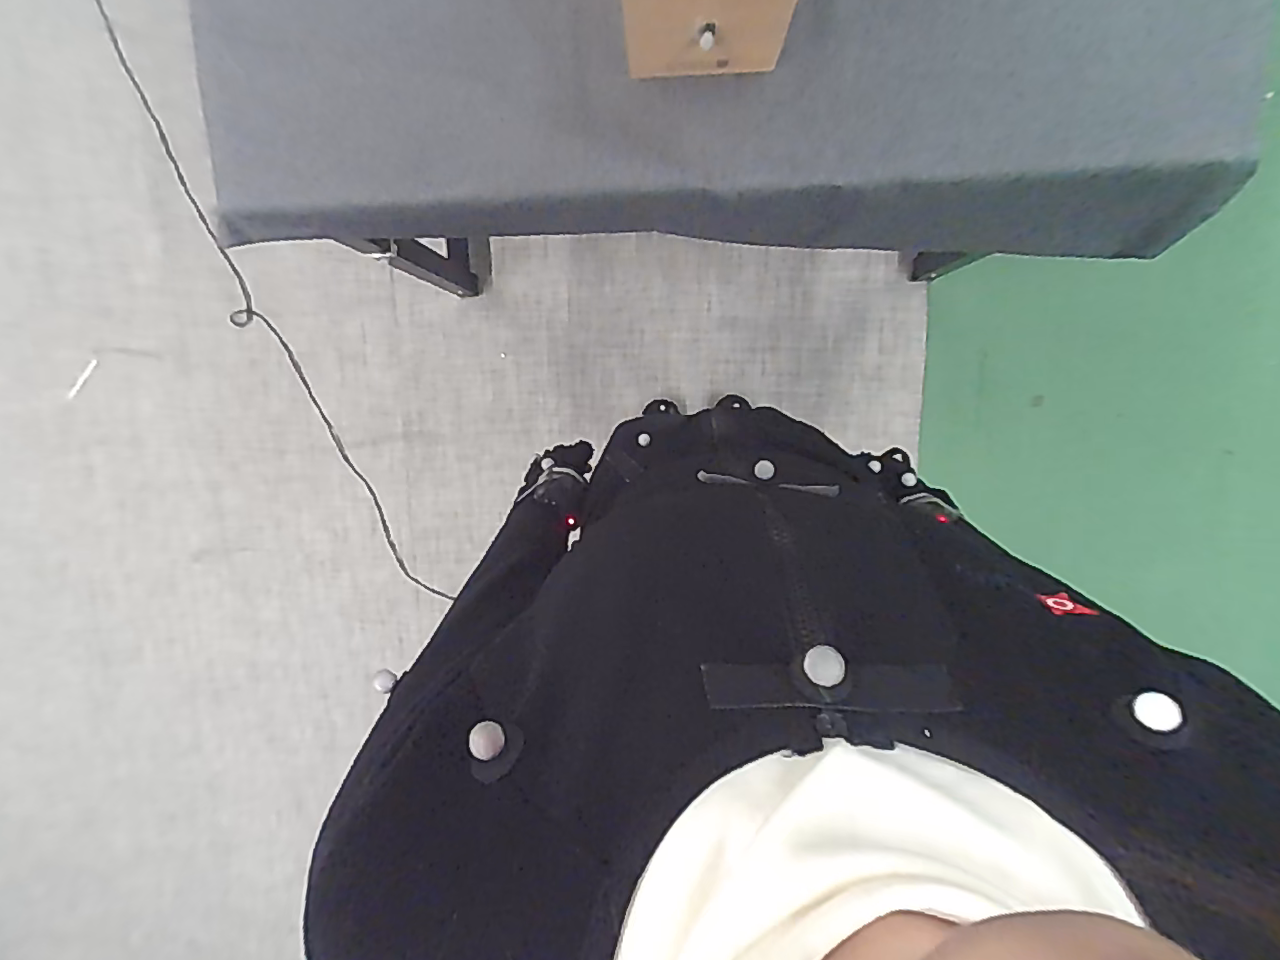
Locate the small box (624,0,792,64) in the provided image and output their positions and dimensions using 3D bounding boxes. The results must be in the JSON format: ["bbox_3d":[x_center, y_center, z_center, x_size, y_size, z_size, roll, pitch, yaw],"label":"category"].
[{"bbox_3d":[0.066,-0.540,0.523,0.168,0.176,0.179,-1,100,4],"label":"small box"}]
